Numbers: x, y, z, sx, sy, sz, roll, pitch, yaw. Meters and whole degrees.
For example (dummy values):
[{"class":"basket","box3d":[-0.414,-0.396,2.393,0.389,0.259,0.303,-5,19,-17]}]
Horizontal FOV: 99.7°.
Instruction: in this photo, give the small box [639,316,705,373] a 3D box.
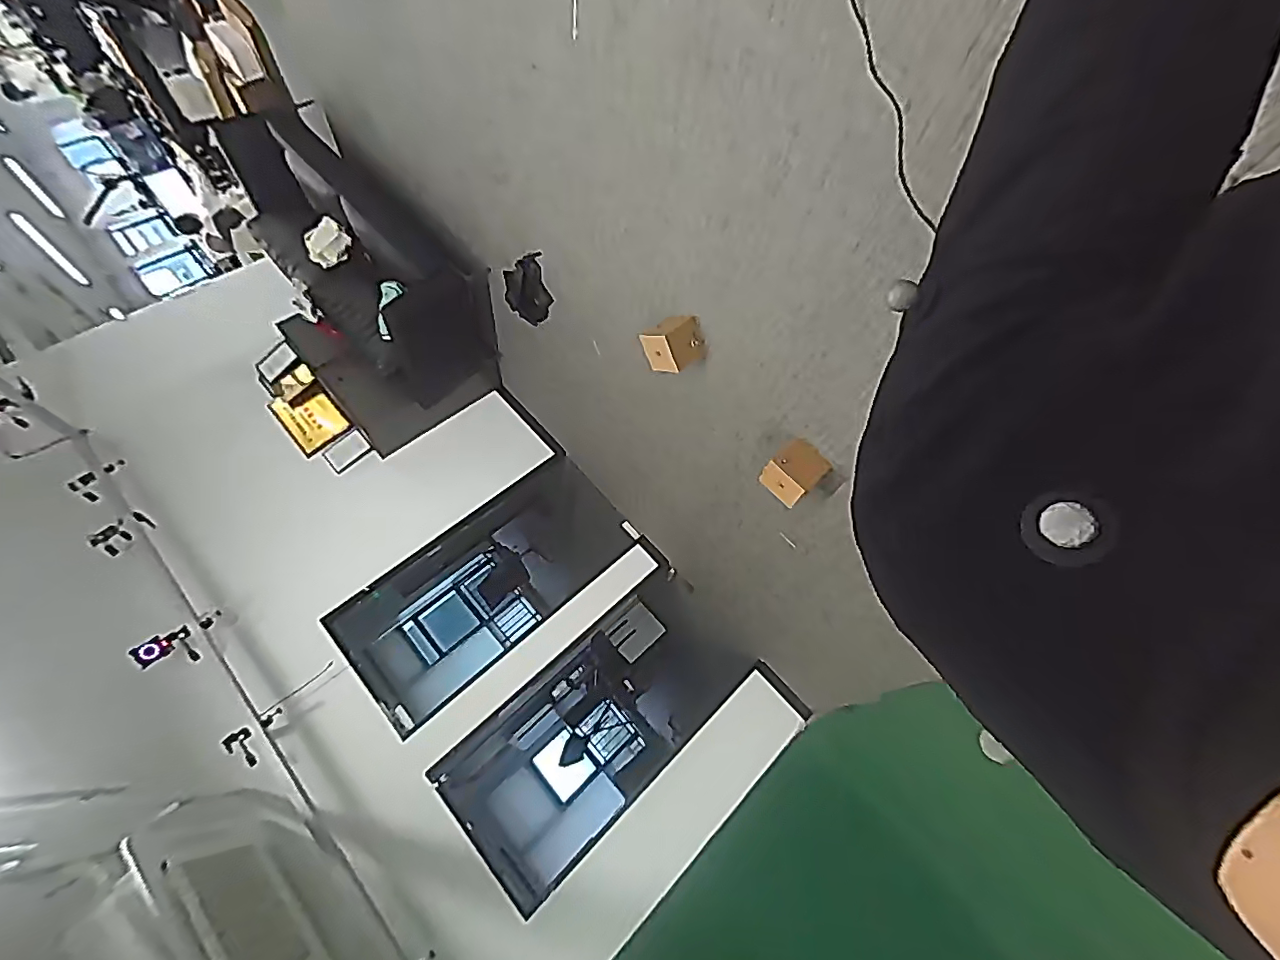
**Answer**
[{"class":"small box","box3d":[0.133,-0.558,2.215,0.179,0.176,0.168,19,142,52]}]

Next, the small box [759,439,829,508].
[{"class":"small box","box3d":[0.603,-0.027,2.106,0.179,0.176,0.168,46,157,17]}]
